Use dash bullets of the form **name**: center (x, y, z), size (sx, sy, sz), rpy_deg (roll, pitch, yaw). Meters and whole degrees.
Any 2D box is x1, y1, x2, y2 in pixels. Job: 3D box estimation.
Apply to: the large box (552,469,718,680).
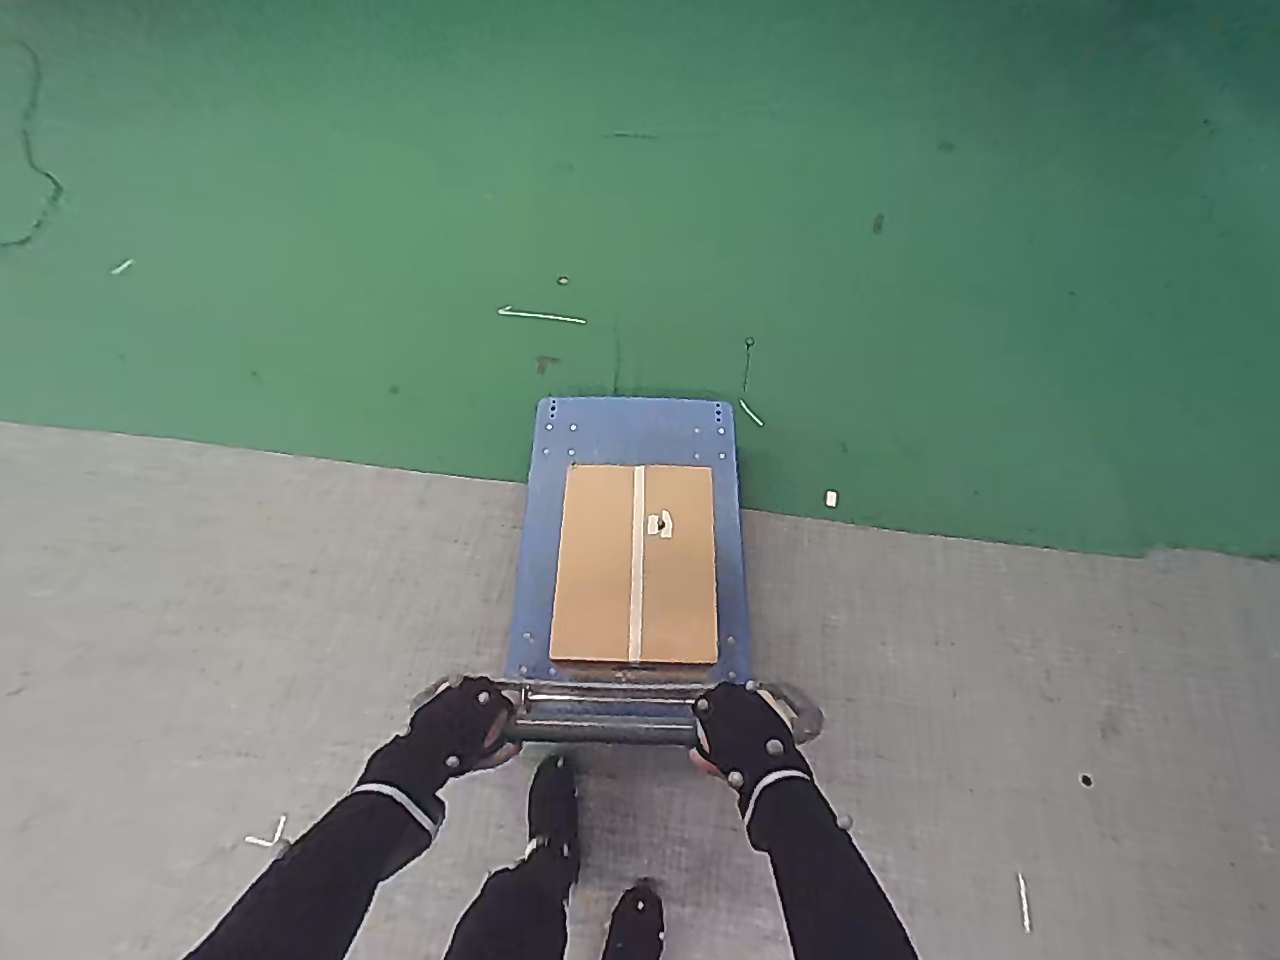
- **large box**: center (-0.005, 0.223, 1.213), size (0.320, 0.320, 0.408), rpy_deg (2, 64, 0)
